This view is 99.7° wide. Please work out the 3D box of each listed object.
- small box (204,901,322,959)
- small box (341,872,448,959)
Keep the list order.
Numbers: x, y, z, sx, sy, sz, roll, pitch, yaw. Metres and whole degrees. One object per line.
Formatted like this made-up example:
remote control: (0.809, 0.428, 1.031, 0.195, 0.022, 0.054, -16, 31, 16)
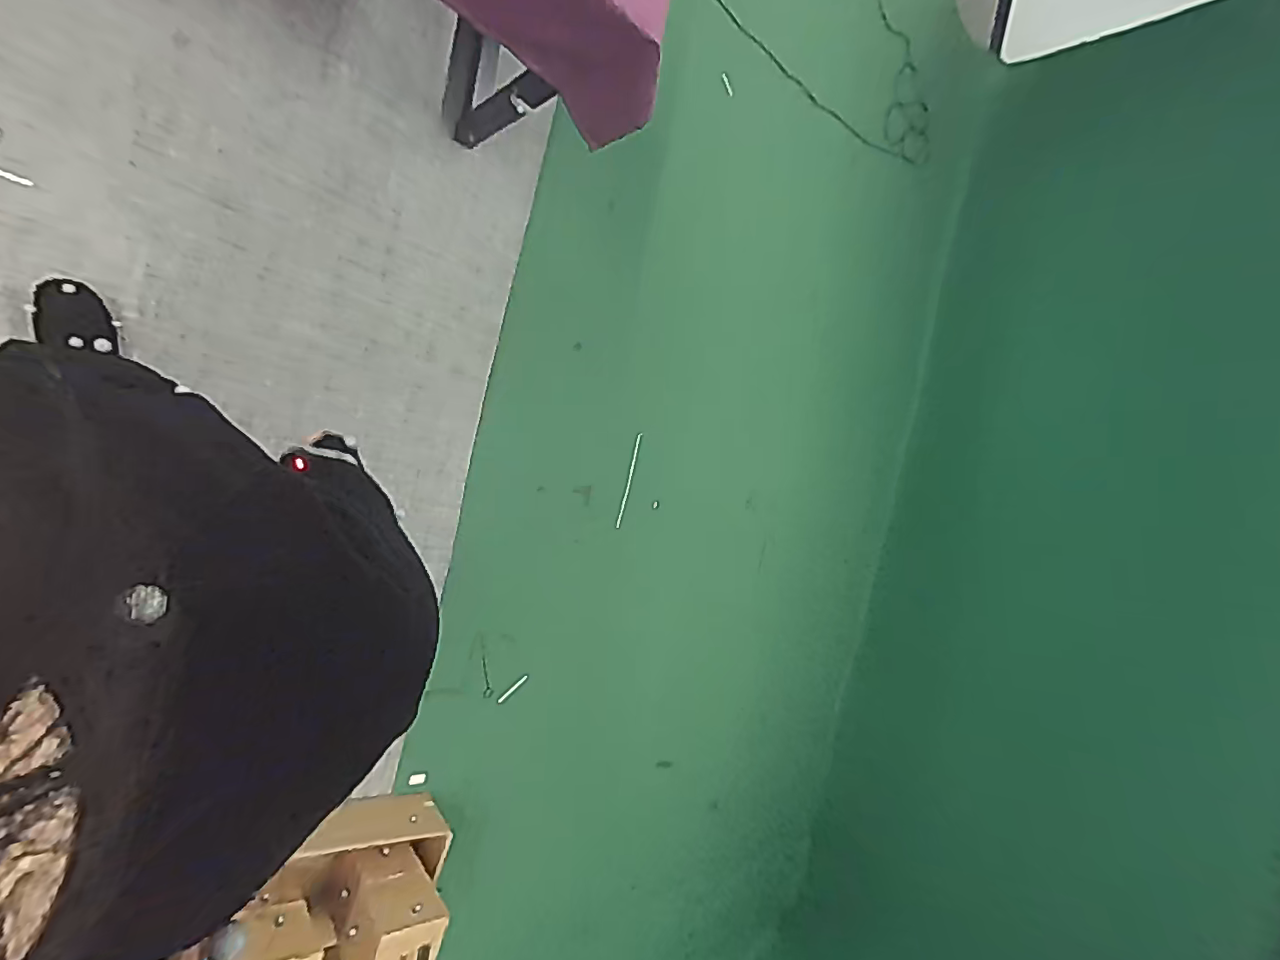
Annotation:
small box: (-0.828, 1.063, 1.165, 0.168, 0.176, 0.179, 31, 75, -44)
small box: (-0.625, 1.141, 1.374, 0.179, 0.176, 0.168, 22, 84, -43)
